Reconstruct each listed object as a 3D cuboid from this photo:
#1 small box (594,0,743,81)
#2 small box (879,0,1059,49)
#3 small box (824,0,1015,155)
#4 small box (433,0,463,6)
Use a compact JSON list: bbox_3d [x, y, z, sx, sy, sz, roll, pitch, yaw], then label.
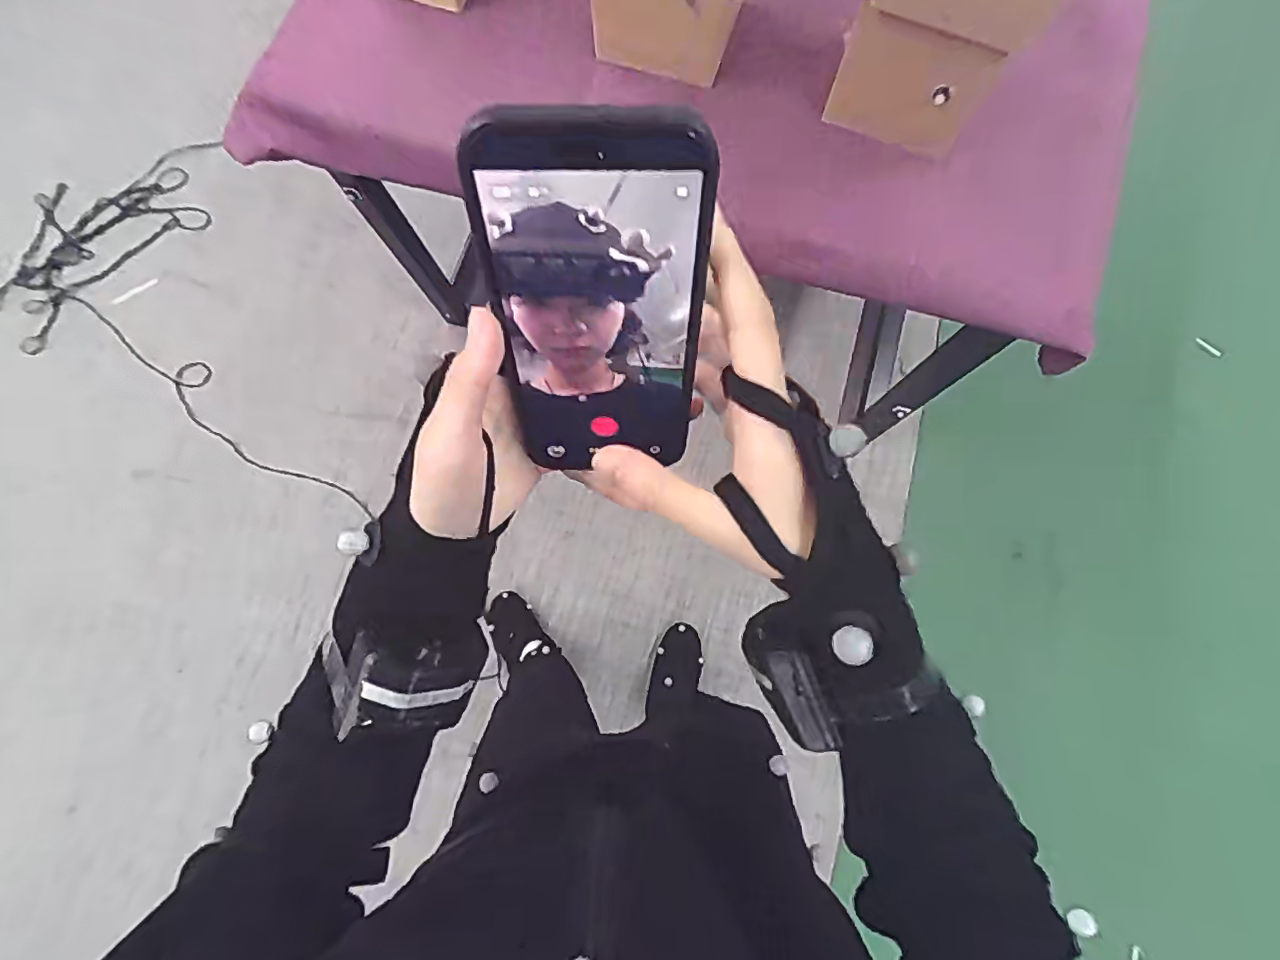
[{"bbox_3d":[0.046,-0.678,0.714,0.179,0.176,0.168,19,80,5],"label":"small box"},{"bbox_3d":[0.360,-0.570,0.517,0.179,0.176,0.168,25,80,6],"label":"small box"},{"bbox_3d":[0.363,-0.555,0.681,0.179,0.176,0.168,25,80,7],"label":"small box"},{"bbox_3d":[-0.315,-0.823,0.755,0.168,0.176,0.179,19,80,5],"label":"small box"}]
